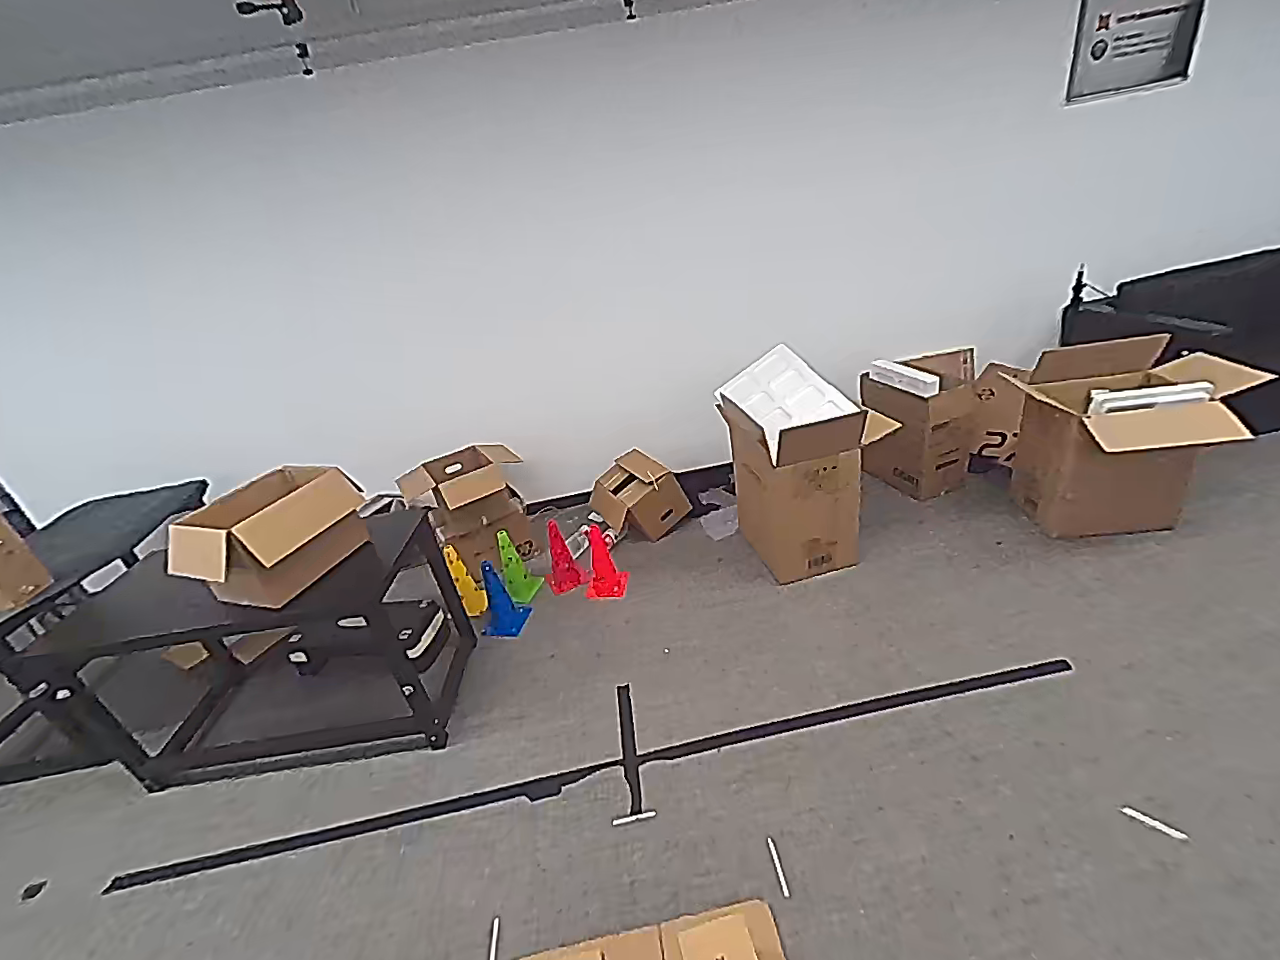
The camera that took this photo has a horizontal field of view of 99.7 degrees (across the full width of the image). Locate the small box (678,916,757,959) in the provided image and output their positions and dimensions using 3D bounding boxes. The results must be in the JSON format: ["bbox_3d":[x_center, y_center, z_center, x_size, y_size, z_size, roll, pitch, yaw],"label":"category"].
[{"bbox_3d":[0.192,1.155,1.230,0.168,0.176,0.179,-14,27,-6],"label":"small box"}]

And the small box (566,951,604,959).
[{"bbox_3d":[-0.145,1.219,1.211,0.168,0.176,0.179,-13,27,-3],"label":"small box"}]
